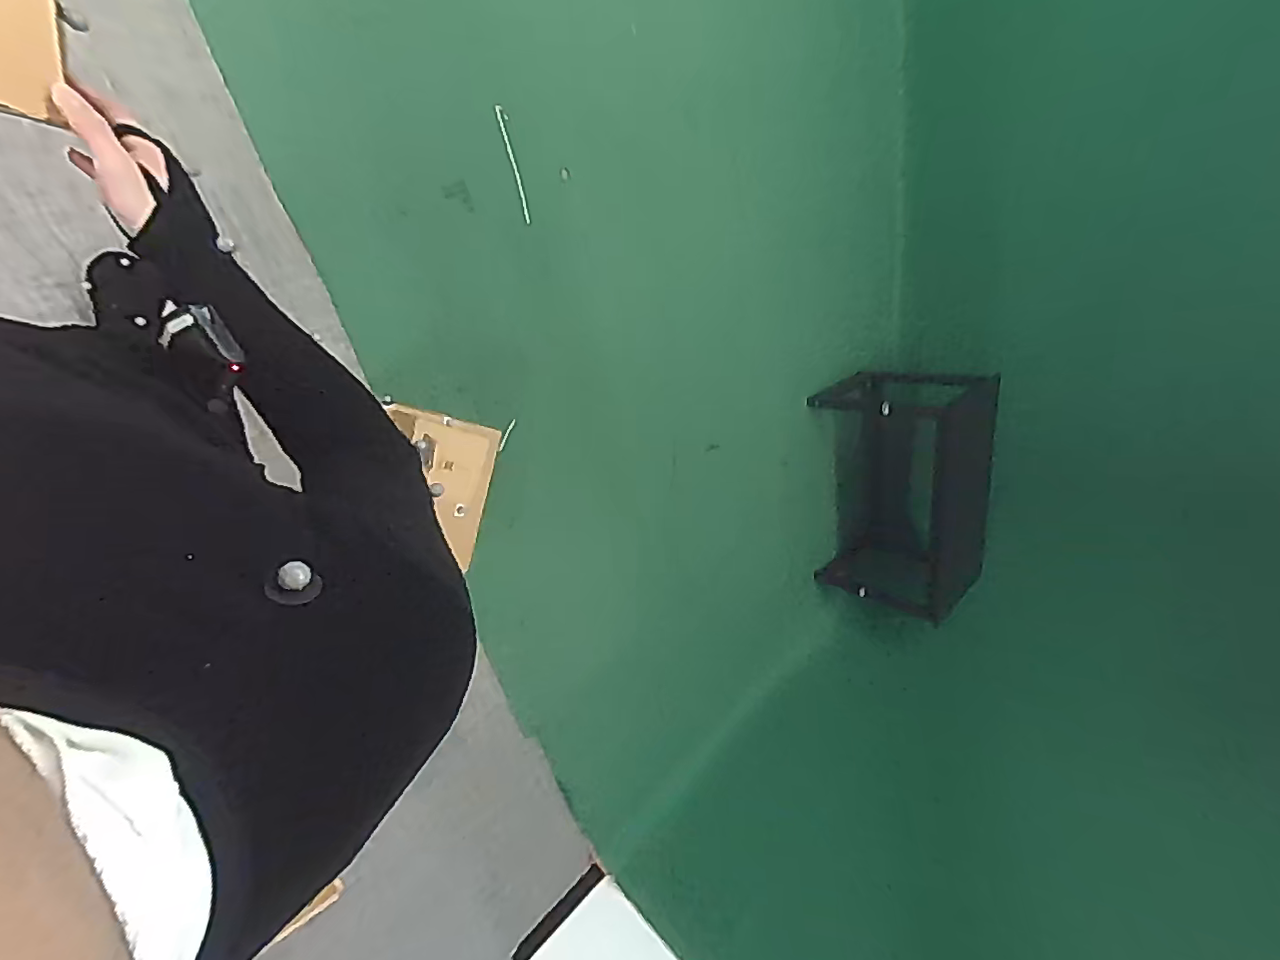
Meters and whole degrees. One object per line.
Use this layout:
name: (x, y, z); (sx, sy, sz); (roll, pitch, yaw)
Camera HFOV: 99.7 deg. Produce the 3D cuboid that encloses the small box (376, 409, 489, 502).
small box: (-0.488, -0.061, 1.259); (0.179, 0.176, 0.168); (17, 91, -44)
